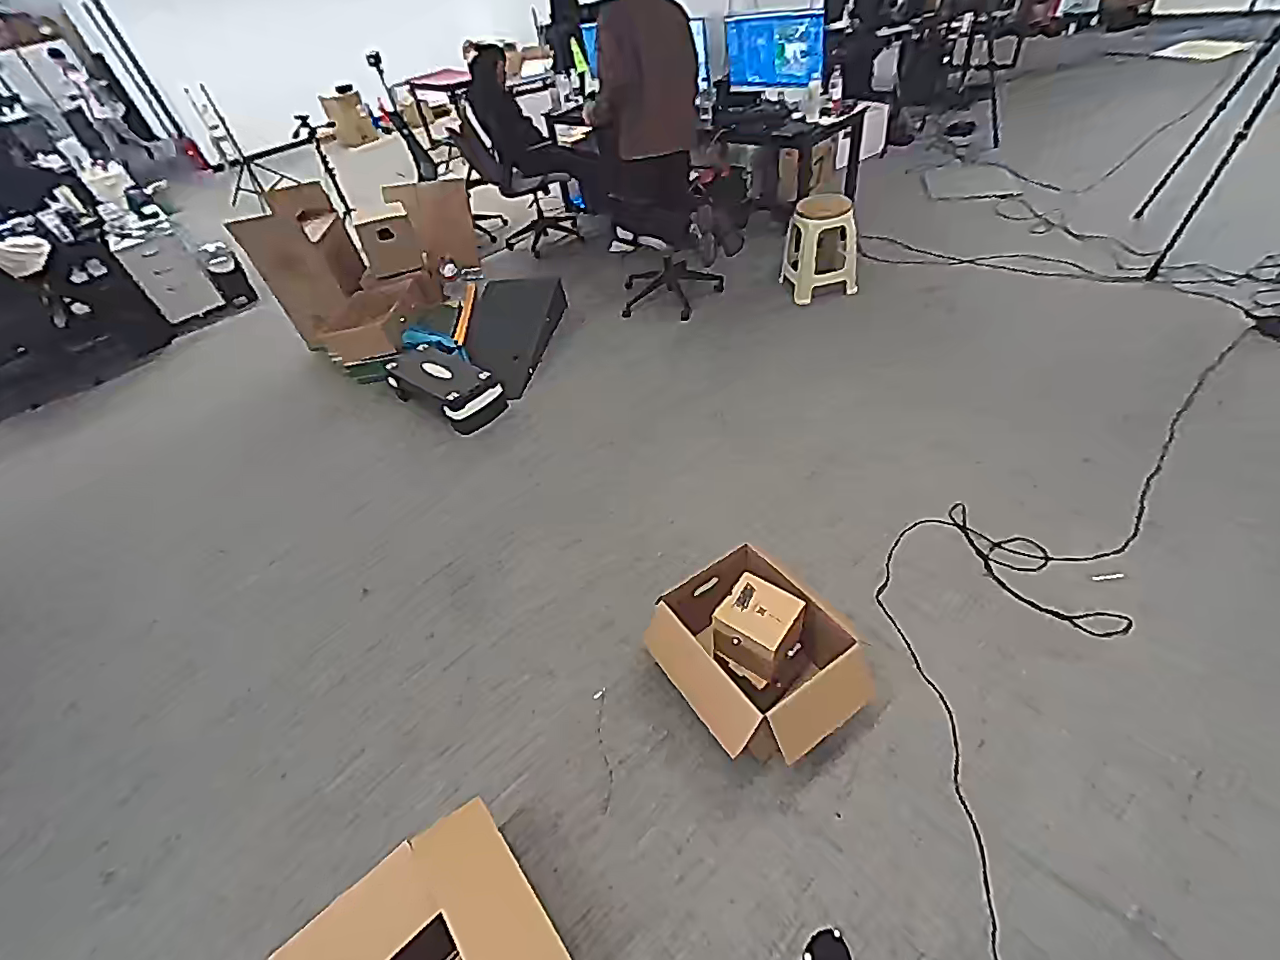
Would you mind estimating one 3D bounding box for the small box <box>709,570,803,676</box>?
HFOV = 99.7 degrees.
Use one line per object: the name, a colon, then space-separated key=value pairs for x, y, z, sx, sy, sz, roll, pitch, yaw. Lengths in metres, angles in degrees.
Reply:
small box: x=0.301 y=0.376 z=1.409 sx=0.179 sy=0.176 sz=0.168 roll=28 pitch=57 yaw=34
